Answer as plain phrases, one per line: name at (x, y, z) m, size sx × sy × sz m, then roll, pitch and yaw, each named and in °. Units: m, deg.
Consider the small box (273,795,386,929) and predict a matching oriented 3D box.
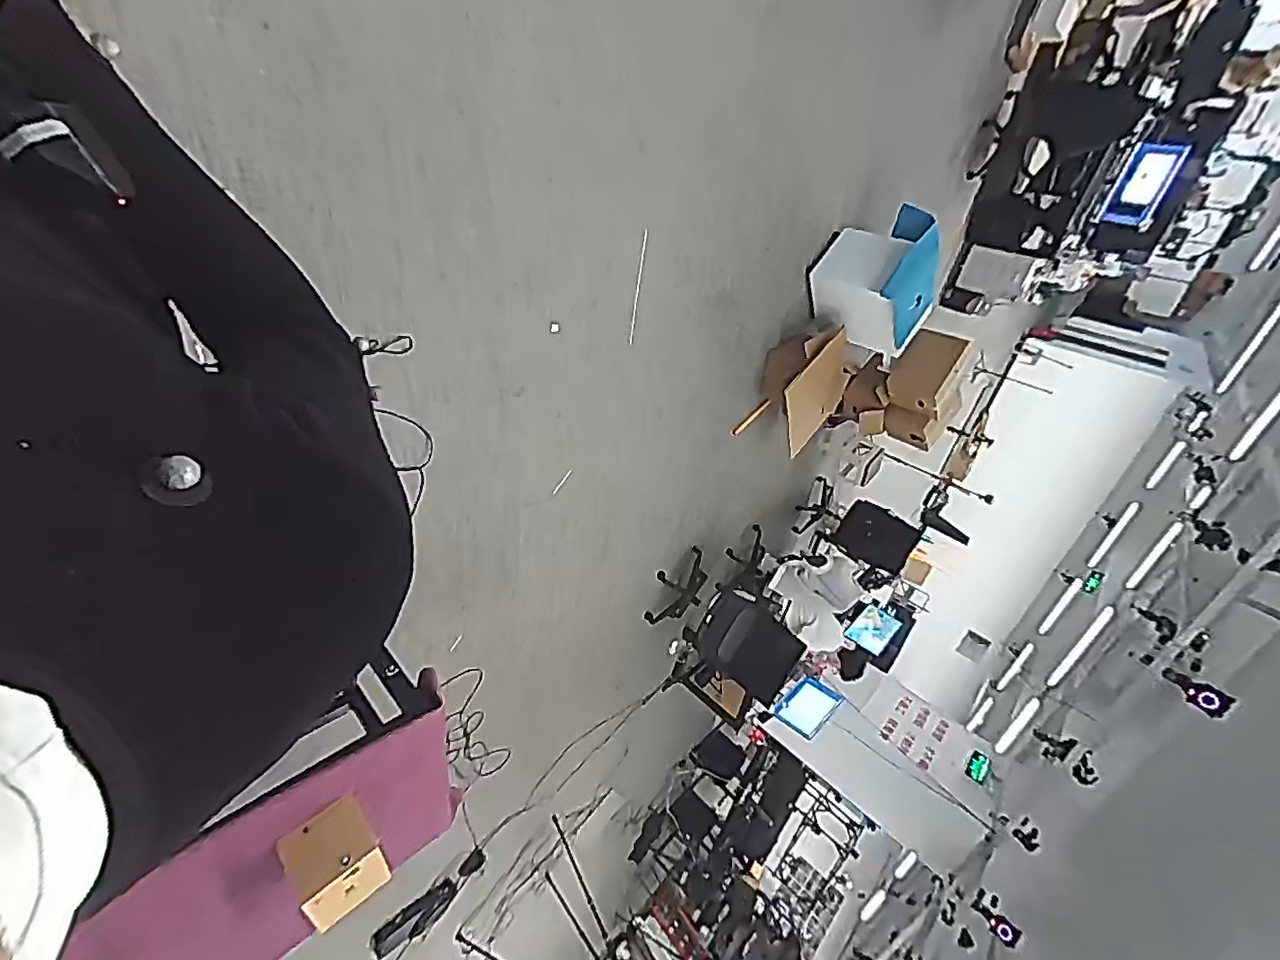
small box at (-0.731, 0.894, 1.278) m, size 0.168 × 0.176 × 0.179 m, roll -28°, pitch 138°, yaw -39°
